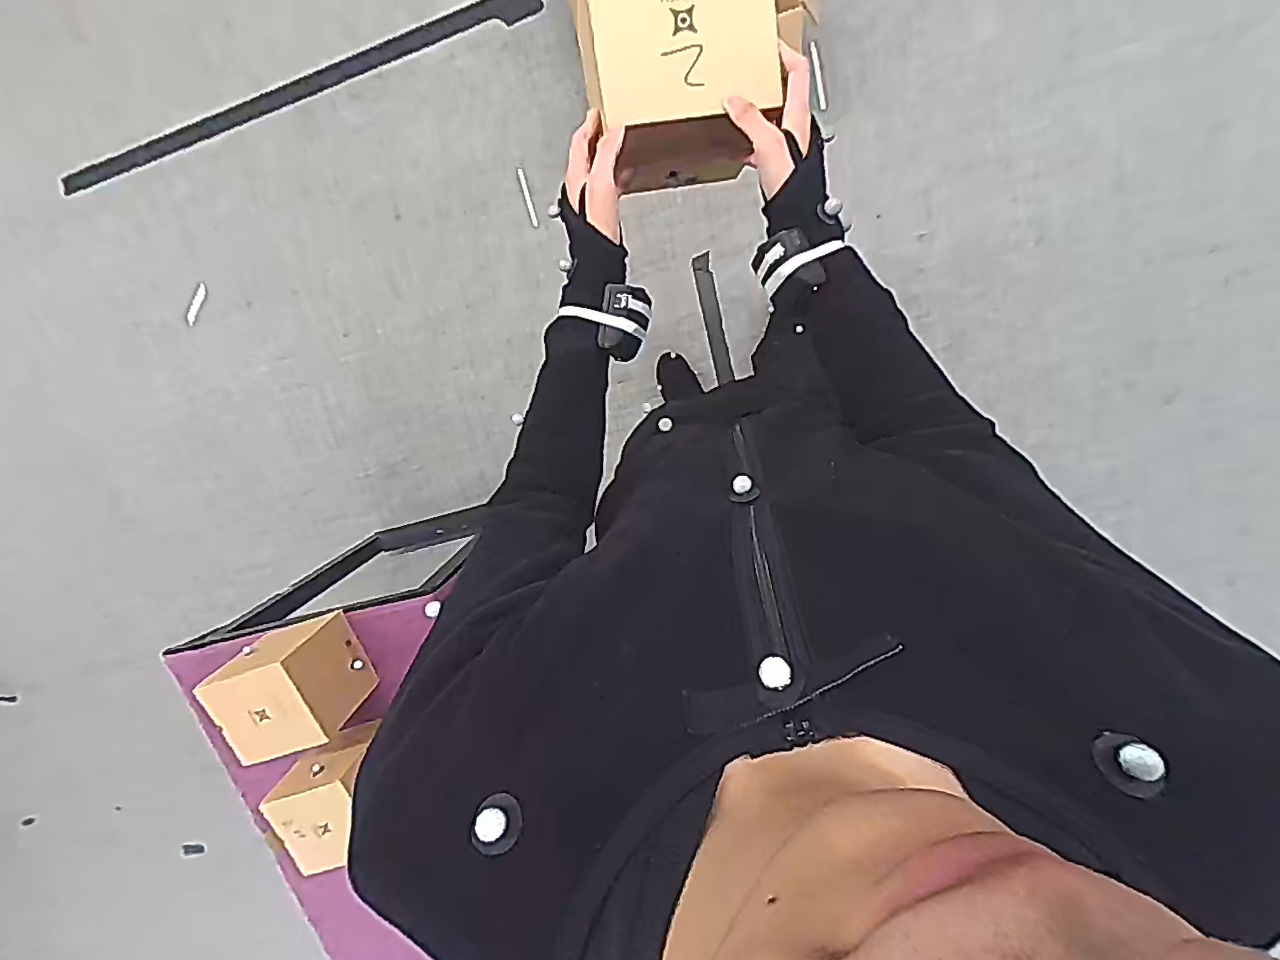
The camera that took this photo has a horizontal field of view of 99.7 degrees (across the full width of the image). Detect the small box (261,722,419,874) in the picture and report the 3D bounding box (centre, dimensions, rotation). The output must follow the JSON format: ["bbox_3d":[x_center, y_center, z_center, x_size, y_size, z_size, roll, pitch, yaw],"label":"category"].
[{"bbox_3d":[-0.550,0.593,1.026,0.179,0.176,0.168,-20,102,10],"label":"small box"}]

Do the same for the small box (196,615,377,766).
[{"bbox_3d":[-0.620,0.370,0.972,0.179,0.176,0.168,-18,104,10],"label":"small box"}]
